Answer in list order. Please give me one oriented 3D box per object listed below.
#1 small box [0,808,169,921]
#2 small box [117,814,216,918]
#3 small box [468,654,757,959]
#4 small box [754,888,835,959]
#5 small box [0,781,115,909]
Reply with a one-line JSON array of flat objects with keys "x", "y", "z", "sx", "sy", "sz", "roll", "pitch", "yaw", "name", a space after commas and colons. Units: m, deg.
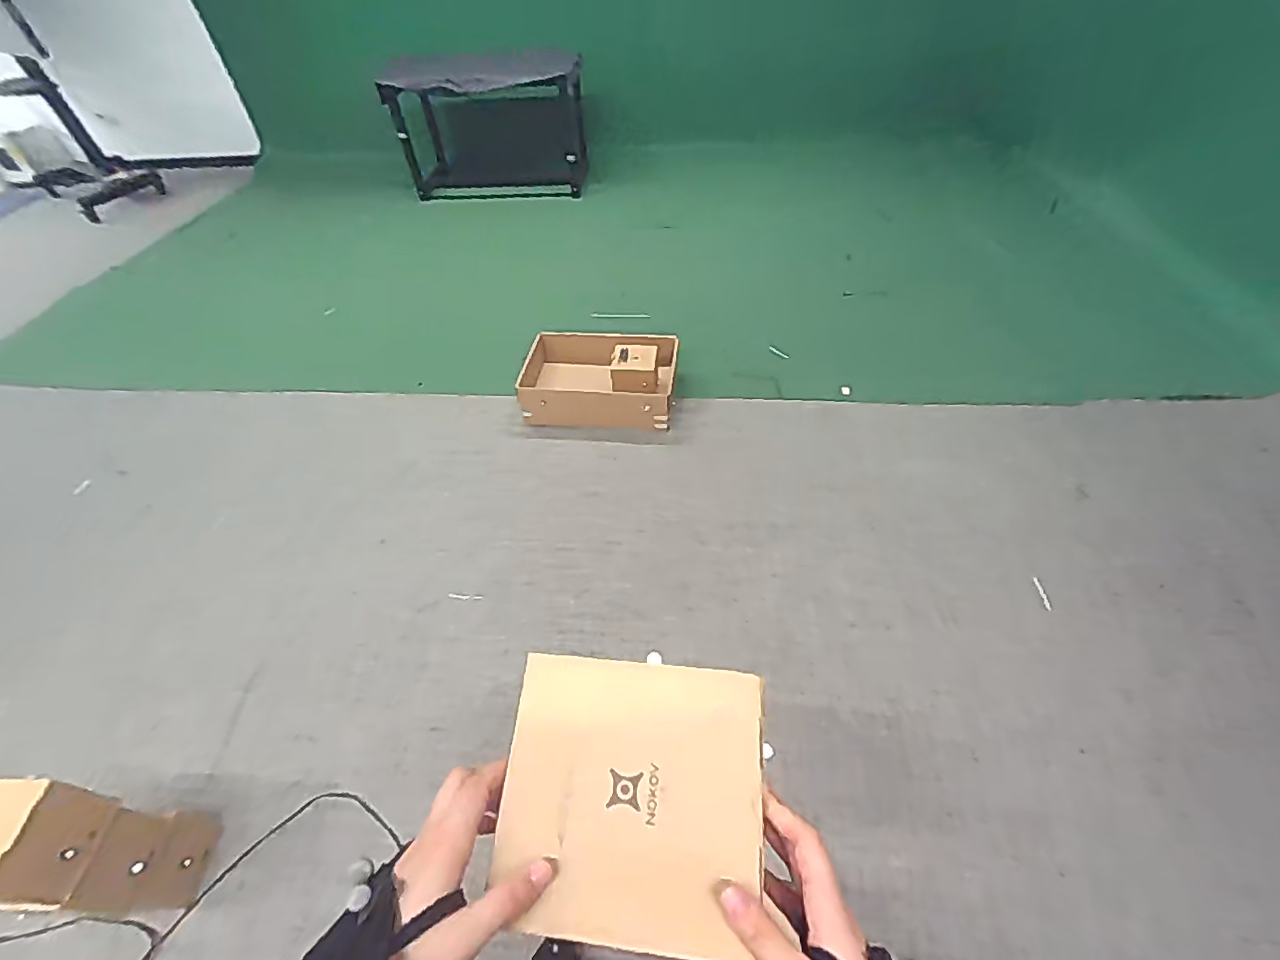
[{"x": -1.103, "y": 0.754, "z": 1.060, "sx": 0.179, "sy": 0.176, "sz": 0.168, "roll": -1, "pitch": 48, "yaw": 2, "name": "small box"}, {"x": -1.098, "y": 0.852, "z": 1.192, "sx": 0.179, "sy": 0.176, "sz": 0.168, "roll": -4, "pitch": 47, "yaw": 1, "name": "small box"}, {"x": -0.005, "y": 0.244, "z": 0.427, "sx": 0.179, "sy": 0.176, "sz": 0.168, "roll": 2, "pitch": 60, "yaw": 8, "name": "small box"}, {"x": 0.275, "y": 0.916, "z": 1.043, "sx": 0.168, "sy": 0.176, "sz": 0.179, "roll": 3, "pitch": 47, "yaw": 6, "name": "small box"}, {"x": -1.107, "y": 0.640, "z": 0.944, "sx": 0.179, "sy": 0.176, "sz": 0.168, "roll": -1, "pitch": 48, "yaw": 1, "name": "small box"}]
